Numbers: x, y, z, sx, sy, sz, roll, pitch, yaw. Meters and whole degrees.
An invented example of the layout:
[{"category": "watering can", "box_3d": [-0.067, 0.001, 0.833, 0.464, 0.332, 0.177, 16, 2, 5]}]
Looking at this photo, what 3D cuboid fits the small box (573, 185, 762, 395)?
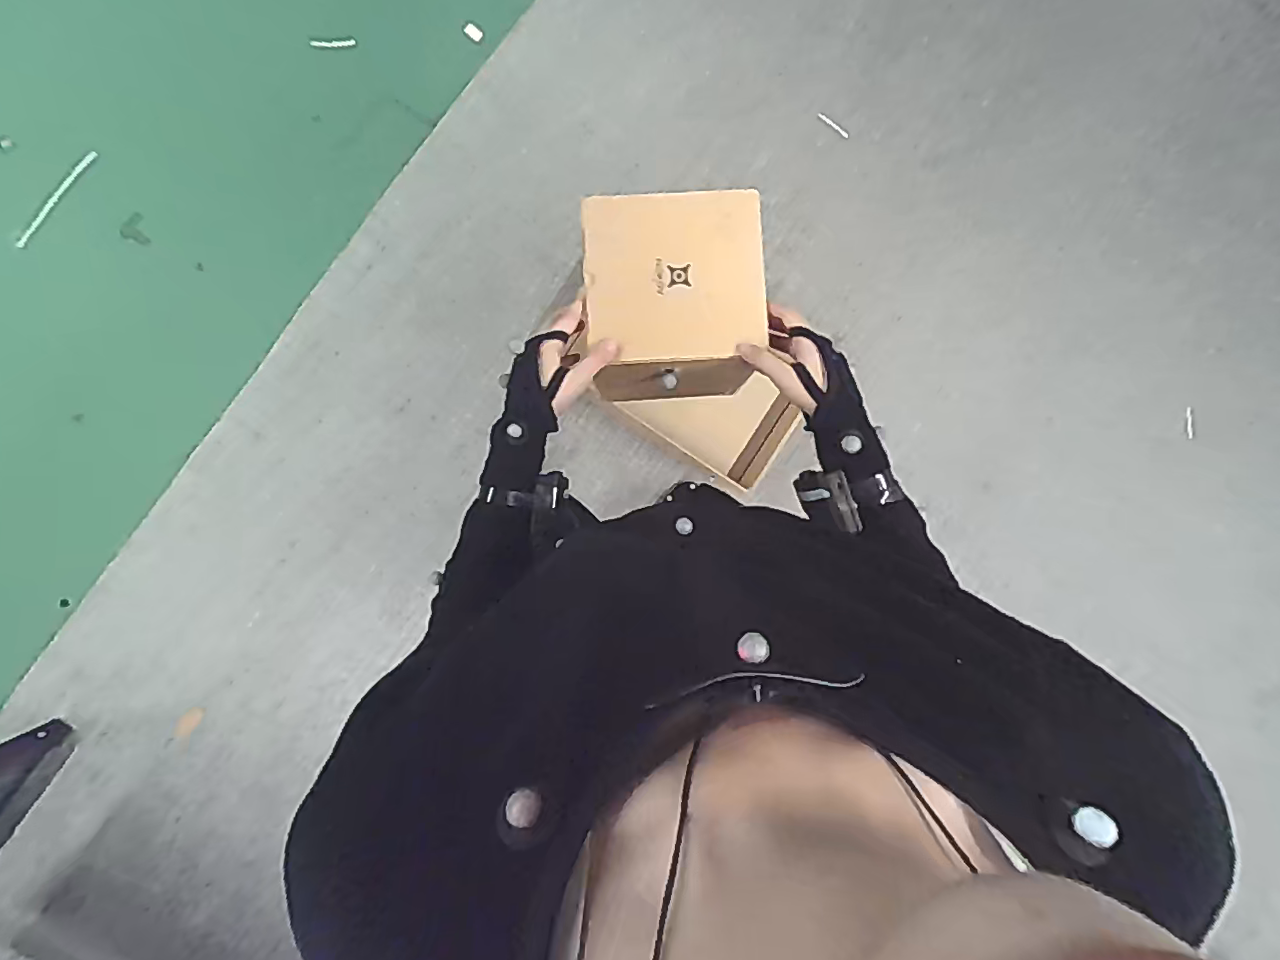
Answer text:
[{"category": "small box", "box_3d": [0.026, -0.195, 0.597, 0.179, 0.176, 0.168, -4, 86, 0]}]
